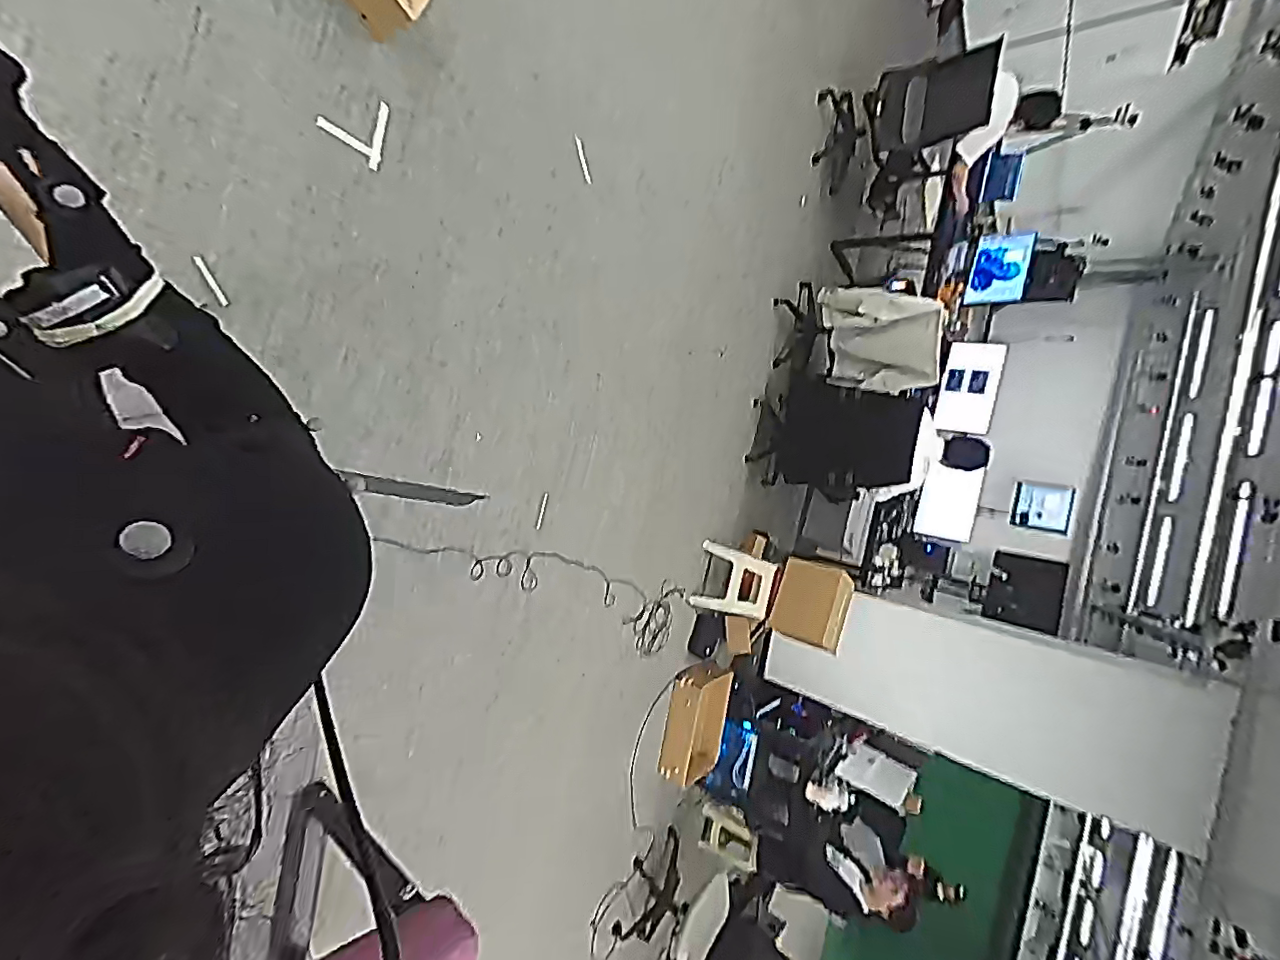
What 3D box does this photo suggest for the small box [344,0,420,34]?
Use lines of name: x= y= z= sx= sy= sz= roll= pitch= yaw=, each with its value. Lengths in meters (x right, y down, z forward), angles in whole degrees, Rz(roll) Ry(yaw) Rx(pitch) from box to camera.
small box: x=-0.627 y=-1.237 z=1.302 sx=0.168 sy=0.176 sz=0.179 roll=40 pitch=67 yaw=-51
